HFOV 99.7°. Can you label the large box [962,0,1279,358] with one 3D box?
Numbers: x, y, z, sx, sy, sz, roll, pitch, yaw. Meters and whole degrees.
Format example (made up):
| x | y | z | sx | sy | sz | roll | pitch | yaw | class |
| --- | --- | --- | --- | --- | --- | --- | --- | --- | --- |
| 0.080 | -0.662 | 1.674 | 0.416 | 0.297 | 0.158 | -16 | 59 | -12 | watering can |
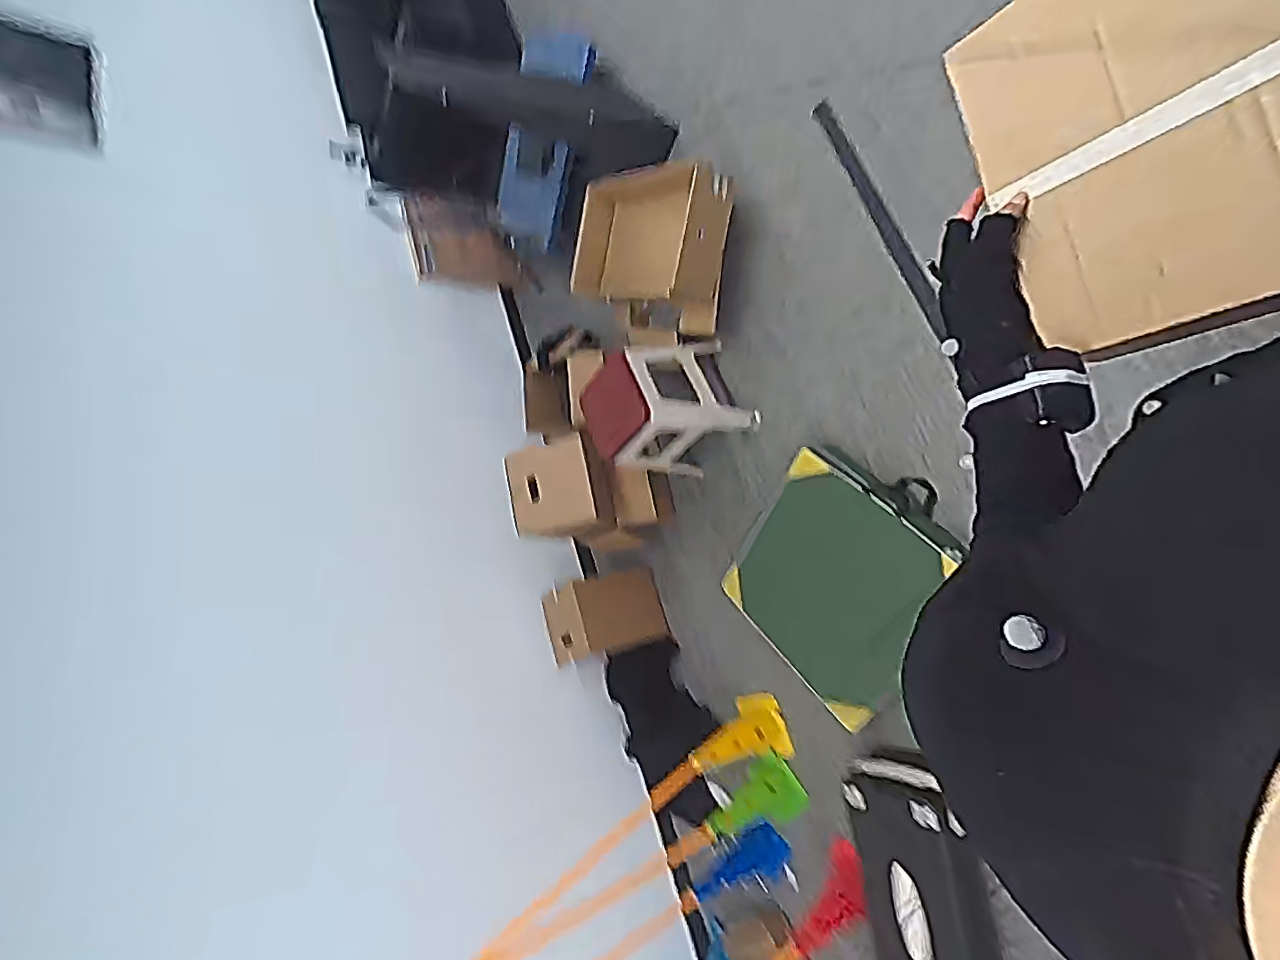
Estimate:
| x | y | z | sx | sy | sz | roll | pitch | yaw | class |
| --- | --- | --- | --- | --- | --- | --- | --- | --- | --- |
| 0.579 | -0.322 | 0.471 | 0.408 | 0.320 | 0.320 | -16 | 87 | 47 | large box |
